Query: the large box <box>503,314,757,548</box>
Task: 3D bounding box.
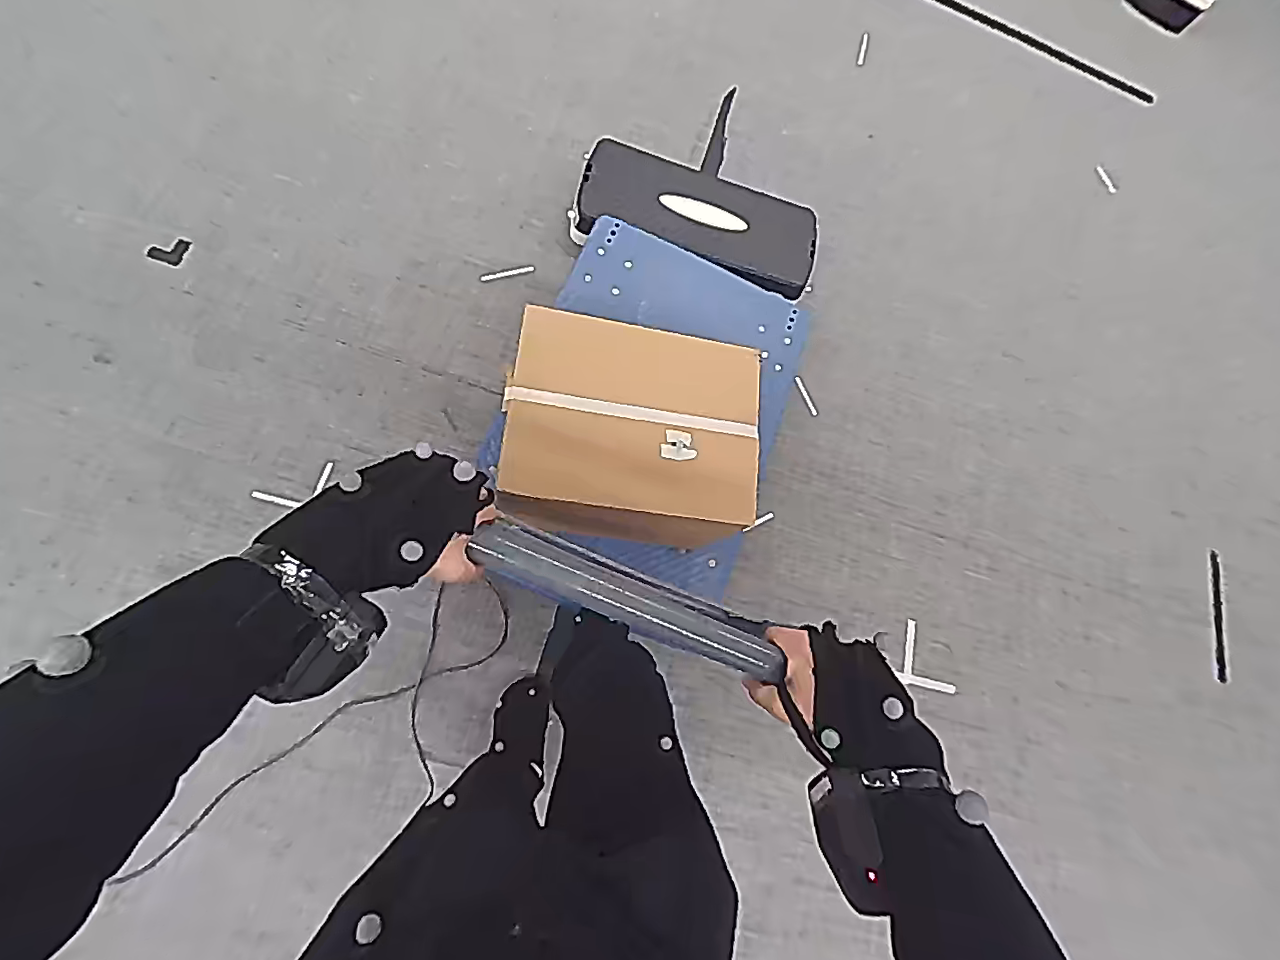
[{"bbox_3d":[-0.033,-0.062,1.007,0.408,0.320,0.320,8,75,-12],"label":"large box"}]
